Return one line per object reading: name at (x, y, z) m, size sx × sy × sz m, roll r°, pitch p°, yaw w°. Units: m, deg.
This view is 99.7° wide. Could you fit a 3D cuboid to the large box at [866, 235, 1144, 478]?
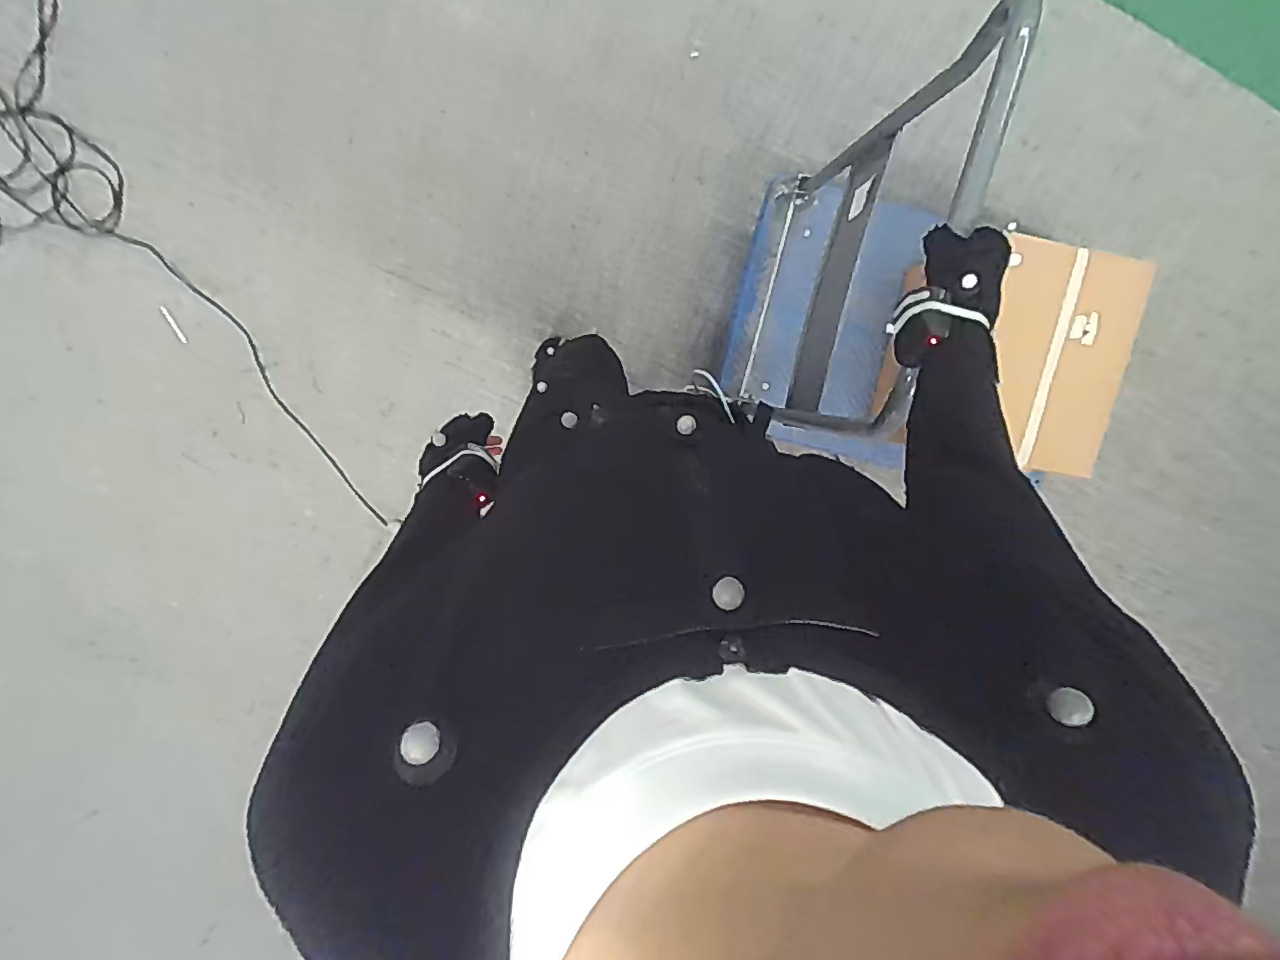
large box at (0.729, -0.240, 1.145) m, size 0.320 × 0.320 × 0.408 m, roll 10°, pitch 98°, yaw -6°
